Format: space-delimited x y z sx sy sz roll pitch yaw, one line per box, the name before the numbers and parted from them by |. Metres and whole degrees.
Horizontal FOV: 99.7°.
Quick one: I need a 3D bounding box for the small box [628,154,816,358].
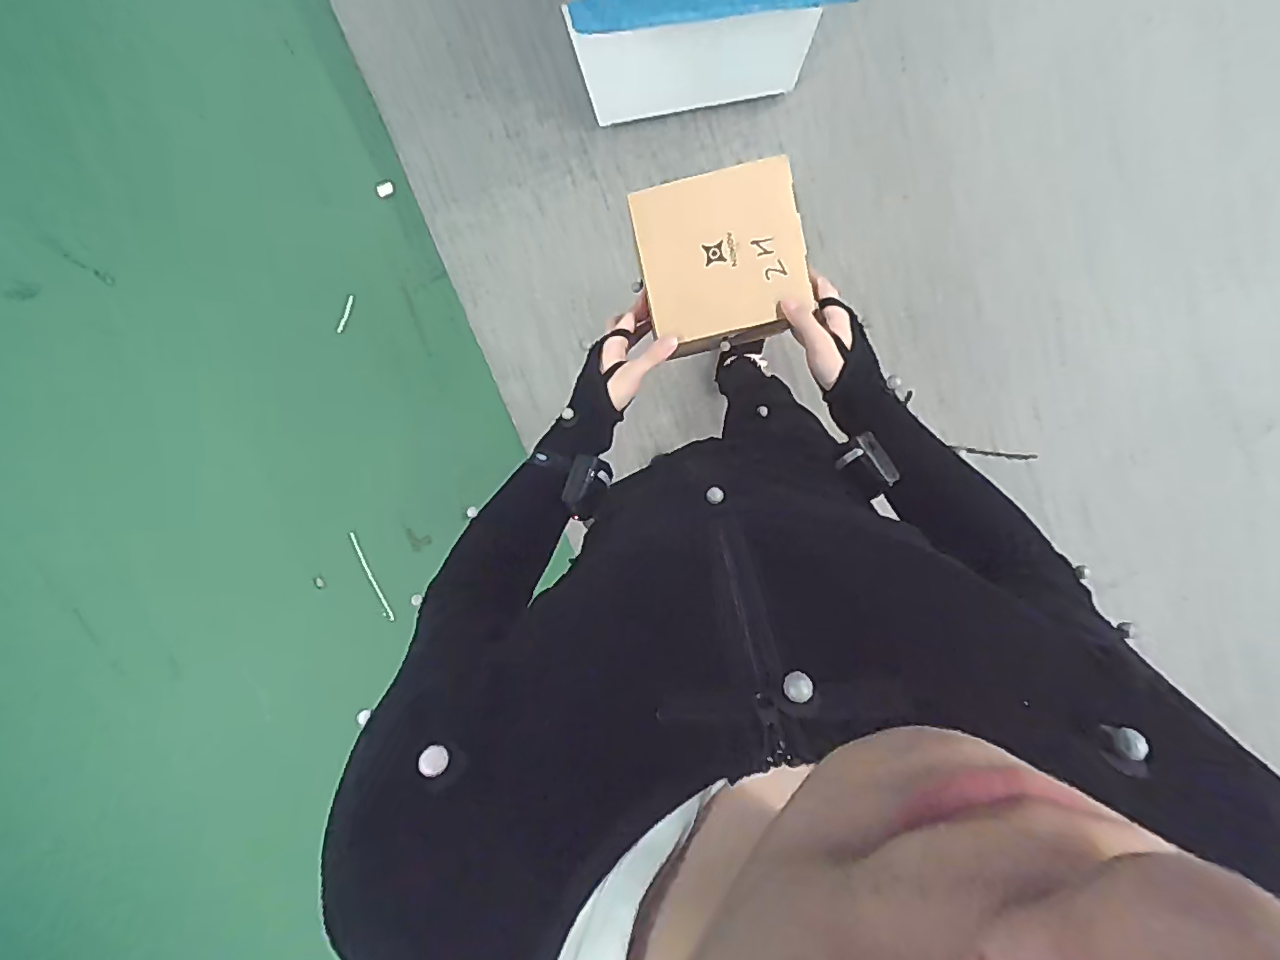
small box | 0.092 -0.251 0.652 0.179 0.176 0.168 -12 96 3
